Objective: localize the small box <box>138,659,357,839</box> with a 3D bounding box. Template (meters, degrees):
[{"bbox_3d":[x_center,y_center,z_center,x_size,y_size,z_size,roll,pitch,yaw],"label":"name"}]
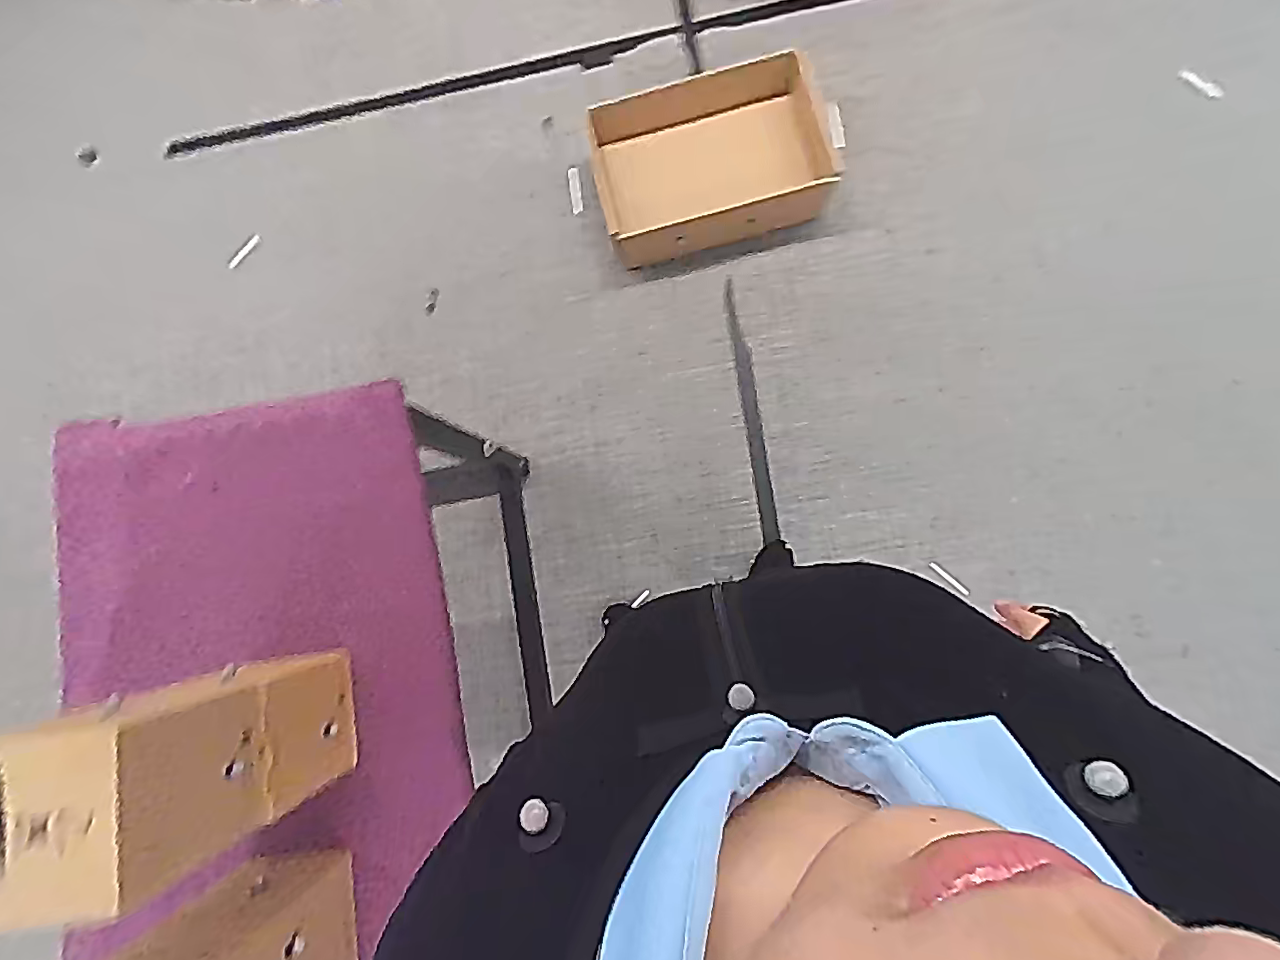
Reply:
[{"bbox_3d":[-0.519,0.350,0.733,0.179,0.176,0.168,-9,83,5],"label":"small box"}]

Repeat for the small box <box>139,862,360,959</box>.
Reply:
[{"bbox_3d":[-0.489,0.628,0.698,0.168,0.176,0.179,-9,83,5],"label":"small box"}]
